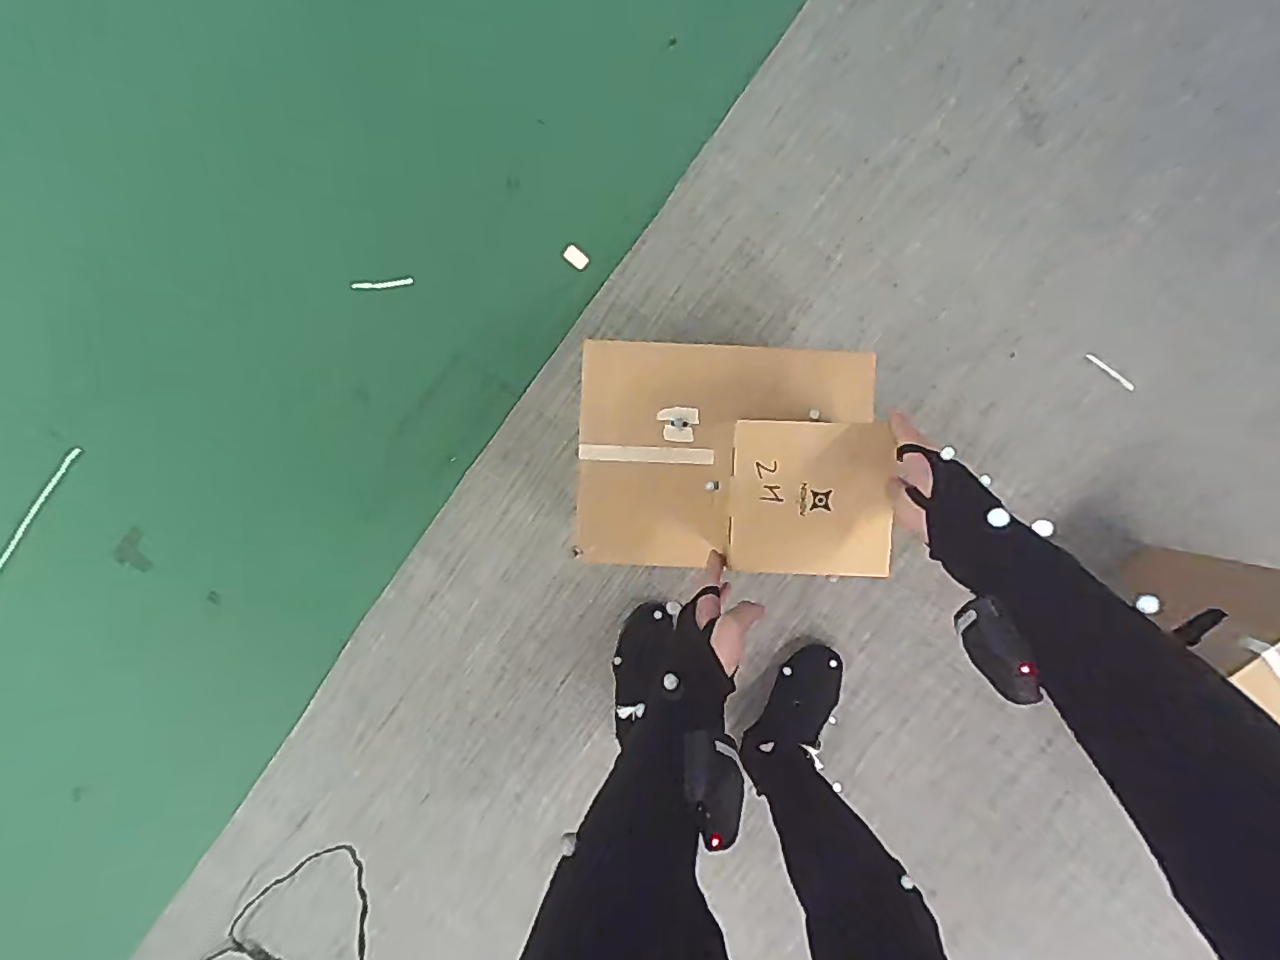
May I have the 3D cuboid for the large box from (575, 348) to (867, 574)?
[{"bbox_3d":[0.117,-0.033,0.901,0.408,0.320,0.320,3,92,2],"label":"large box"}]

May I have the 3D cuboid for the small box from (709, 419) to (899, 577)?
[{"bbox_3d":[0.184,0.014,0.654,0.179,0.176,0.168,2,94,1],"label":"small box"}]
